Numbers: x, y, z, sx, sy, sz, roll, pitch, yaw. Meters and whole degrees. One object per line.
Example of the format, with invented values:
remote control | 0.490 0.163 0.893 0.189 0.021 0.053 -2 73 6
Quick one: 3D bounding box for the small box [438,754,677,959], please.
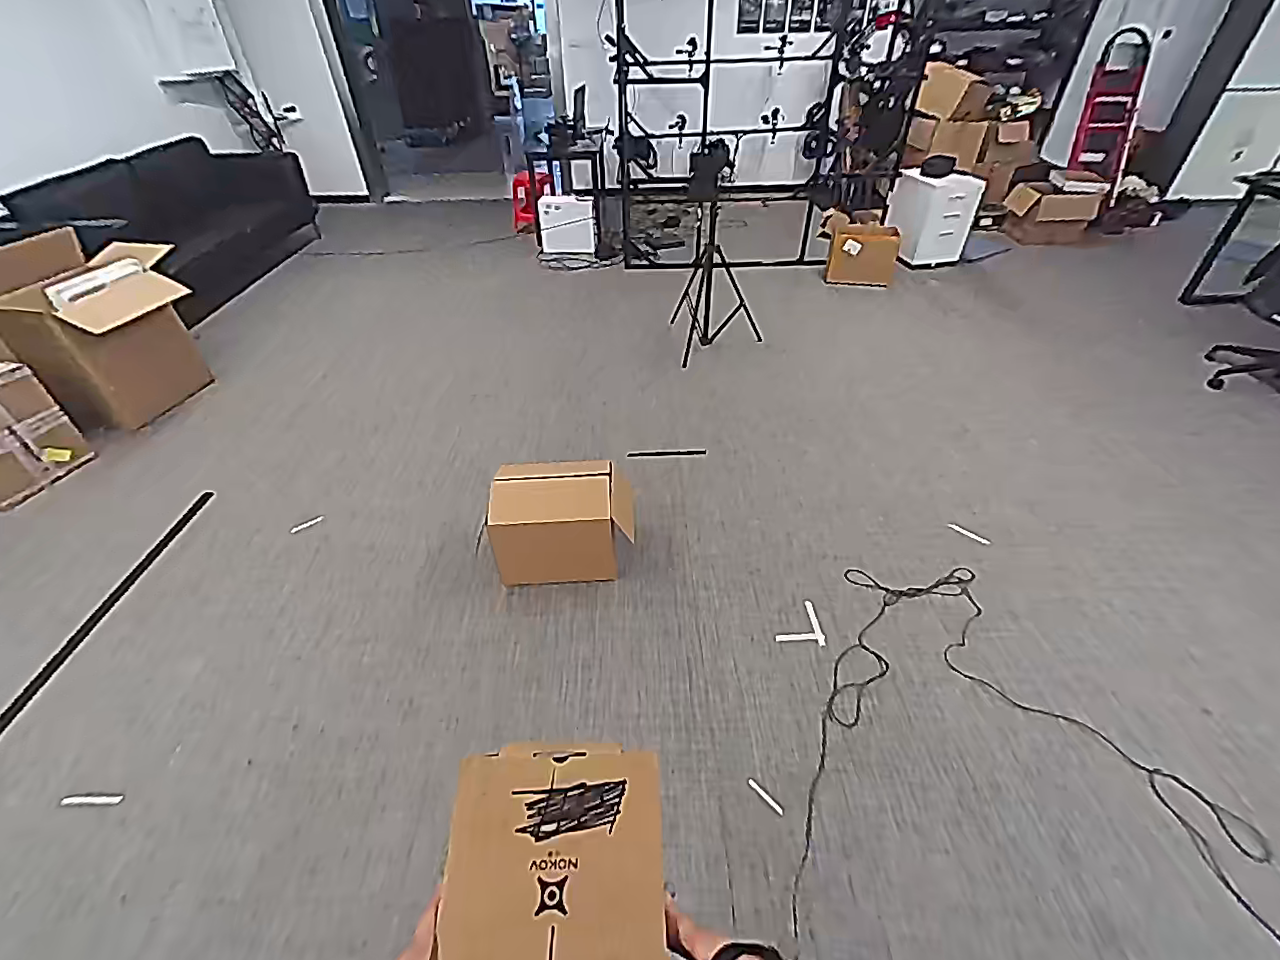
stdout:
small box | -0.062 0.347 0.458 0.168 0.176 0.179 0 52 -3
